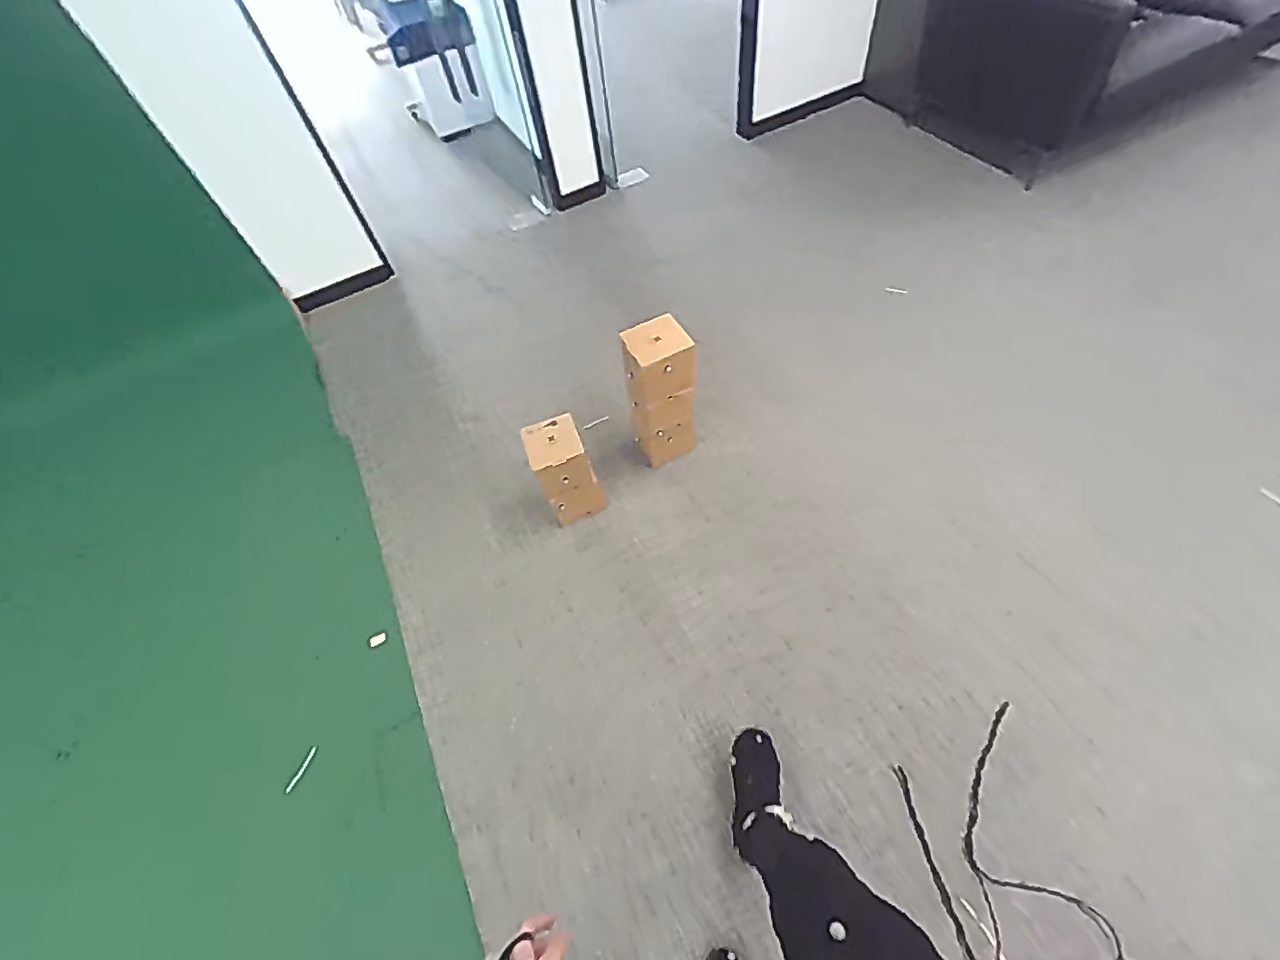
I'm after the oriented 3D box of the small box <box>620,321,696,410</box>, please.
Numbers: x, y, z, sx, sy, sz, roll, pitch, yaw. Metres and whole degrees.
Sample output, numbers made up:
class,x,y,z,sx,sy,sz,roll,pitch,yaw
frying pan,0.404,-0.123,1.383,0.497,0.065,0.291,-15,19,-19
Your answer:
class,x,y,z,sx,sy,sz,roll,pitch,yaw
small box,0.057,-0.348,1.659,0.179,0.176,0.168,-25,56,-10

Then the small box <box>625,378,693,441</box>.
class,x,y,z,sx,sy,sz,roll,pitch,yaw
small box,0.067,-0.252,1.790,0.168,0.176,0.179,-24,56,-10

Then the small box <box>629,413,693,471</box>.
class,x,y,z,sx,sy,sz,roll,pitch,yaw
small box,0.079,-0.162,1.926,0.179,0.176,0.168,-25,57,-10

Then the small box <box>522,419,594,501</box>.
class,x,y,z,sx,sy,sz,roll,pitch,yaw
small box,-0.254,-0.054,1.697,0.168,0.176,0.179,-20,56,-7
